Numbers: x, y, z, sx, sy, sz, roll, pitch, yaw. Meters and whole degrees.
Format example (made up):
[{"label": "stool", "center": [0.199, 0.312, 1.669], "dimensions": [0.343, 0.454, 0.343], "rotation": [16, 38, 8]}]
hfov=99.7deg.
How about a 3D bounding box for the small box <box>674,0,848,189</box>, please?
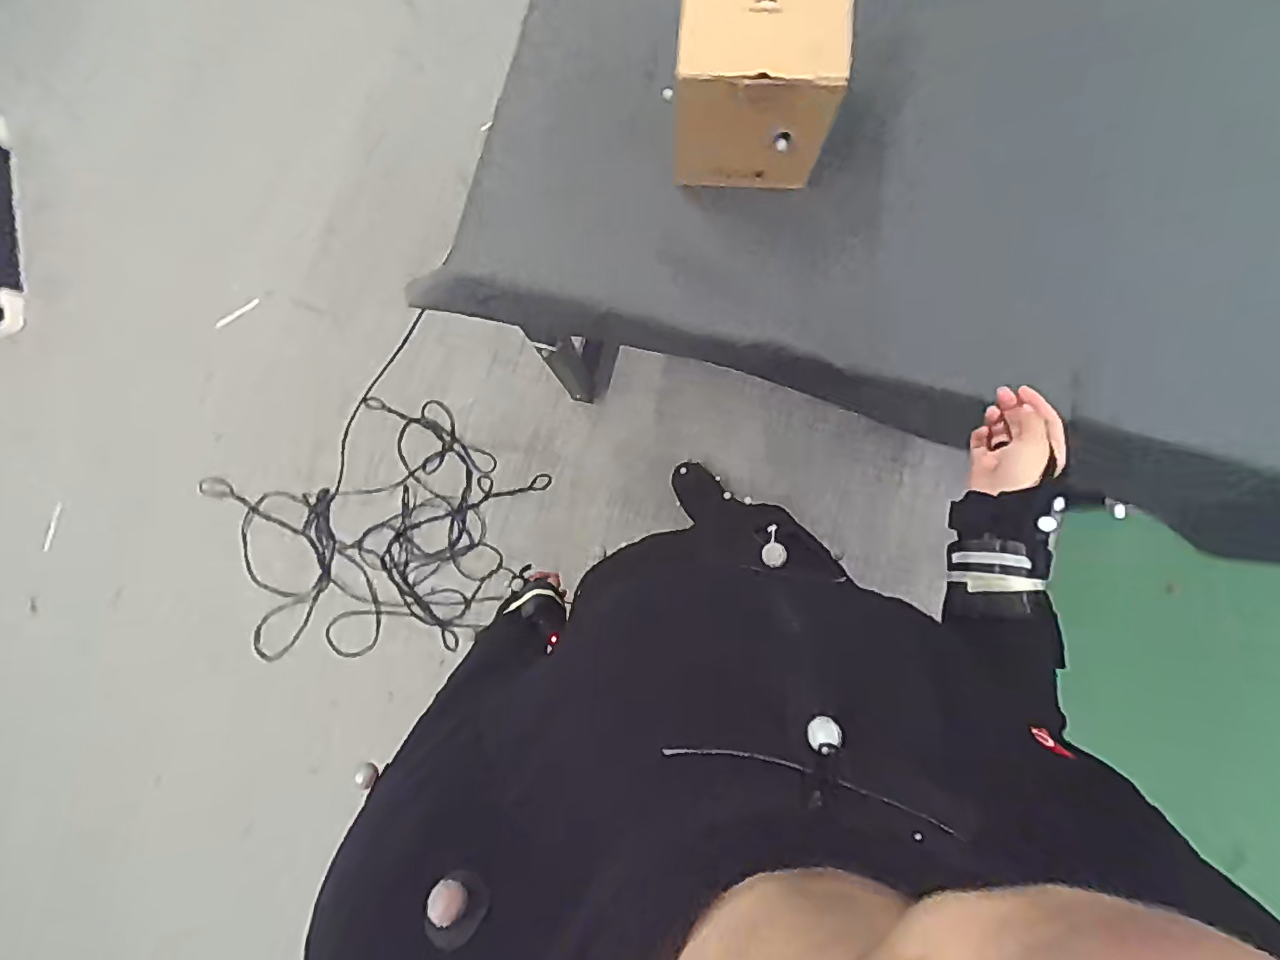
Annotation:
[{"label": "small box", "center": [0.126, -0.460, 0.612], "dimensions": [0.168, 0.176, 0.179], "rotation": [3, 83, 2]}]
